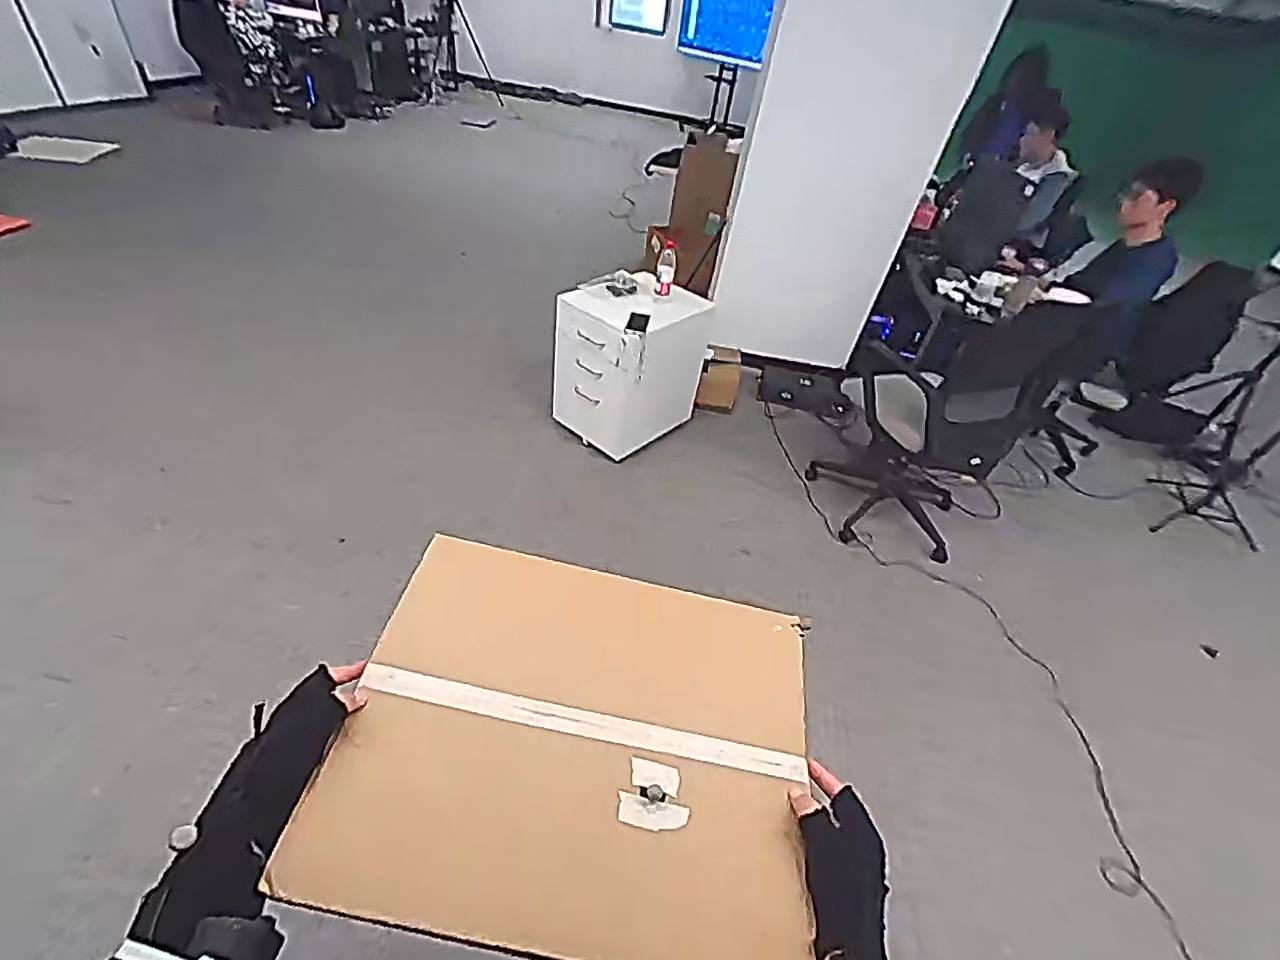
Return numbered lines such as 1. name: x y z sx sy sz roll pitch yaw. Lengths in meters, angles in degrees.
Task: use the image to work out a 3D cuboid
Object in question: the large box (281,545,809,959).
1. large box: -0.074 0.318 0.603 0.408 0.320 0.320 13 49 -2
